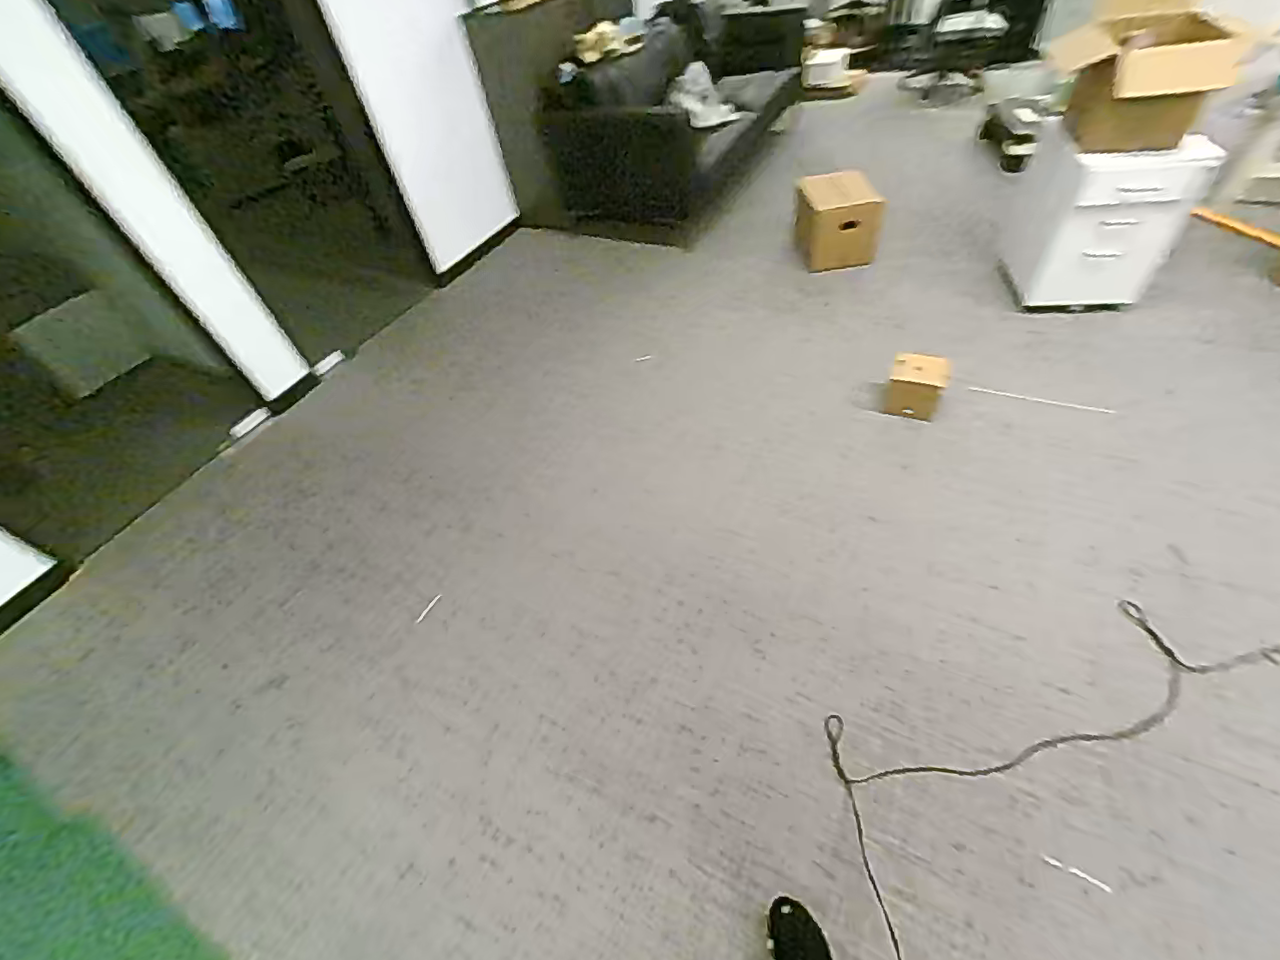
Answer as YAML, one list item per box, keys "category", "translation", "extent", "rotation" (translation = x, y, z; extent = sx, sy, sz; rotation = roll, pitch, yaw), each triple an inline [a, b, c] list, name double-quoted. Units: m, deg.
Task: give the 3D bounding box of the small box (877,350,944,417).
- category: "small box"
  translation: [1.010, -0.356, 2.022]
  extent: [0.179, 0.176, 0.168]
  rotation: [15, 53, 22]
